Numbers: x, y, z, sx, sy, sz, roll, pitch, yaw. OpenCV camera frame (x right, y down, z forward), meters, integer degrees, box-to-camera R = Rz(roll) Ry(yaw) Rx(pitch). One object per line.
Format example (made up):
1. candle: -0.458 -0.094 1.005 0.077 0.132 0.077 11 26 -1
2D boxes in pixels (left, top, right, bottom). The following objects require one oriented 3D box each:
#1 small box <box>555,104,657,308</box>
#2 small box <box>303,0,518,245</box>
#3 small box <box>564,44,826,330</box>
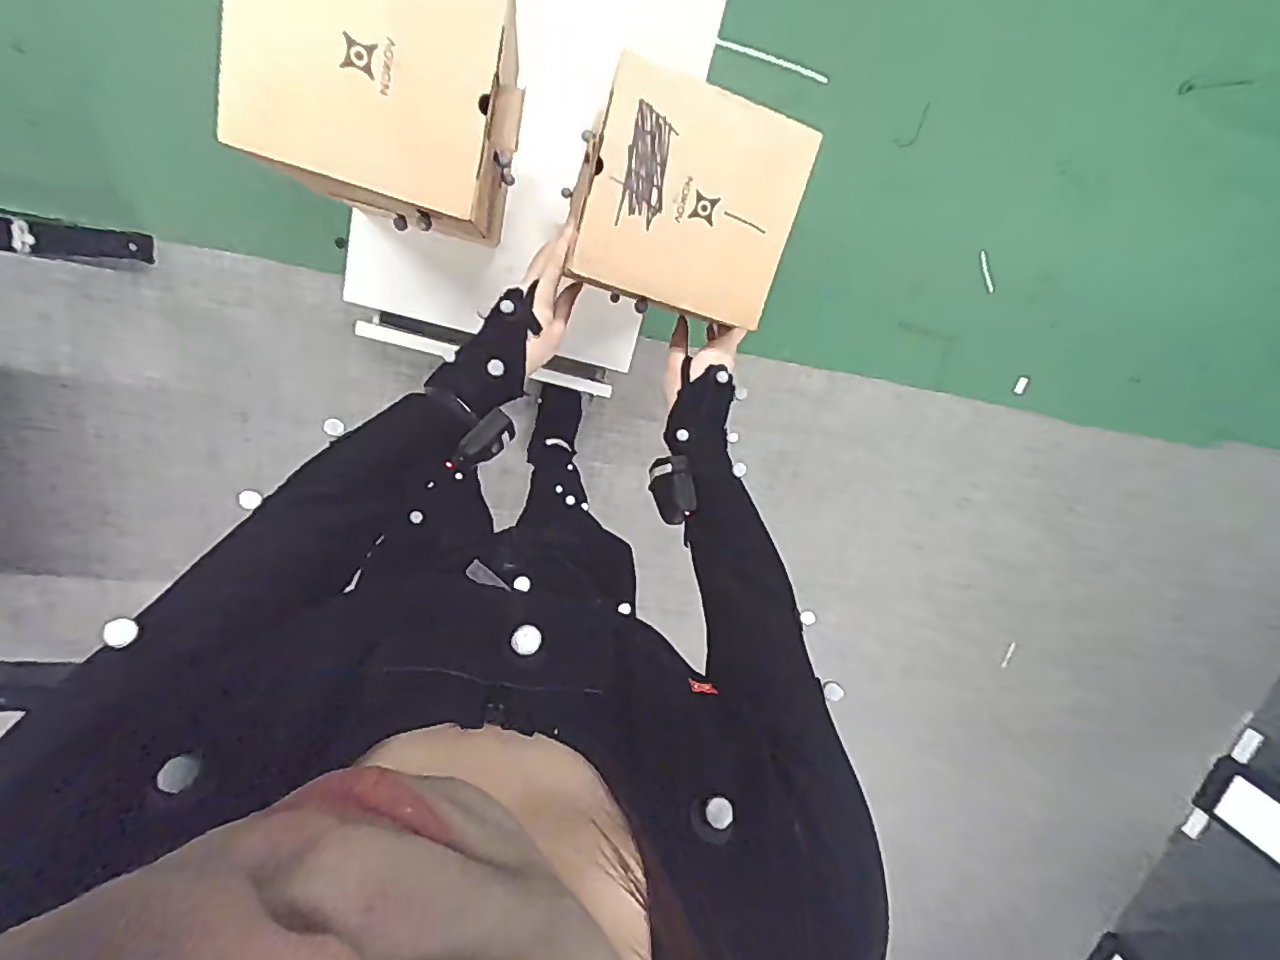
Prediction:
1. small box: -0.001 -0.311 0.659 0.179 0.176 0.168 14 107 -15
2. small box: -0.237 -0.369 0.594 0.179 0.176 0.168 10 106 -15
3. small box: 0.032 -0.251 0.509 0.179 0.176 0.168 13 107 -15
